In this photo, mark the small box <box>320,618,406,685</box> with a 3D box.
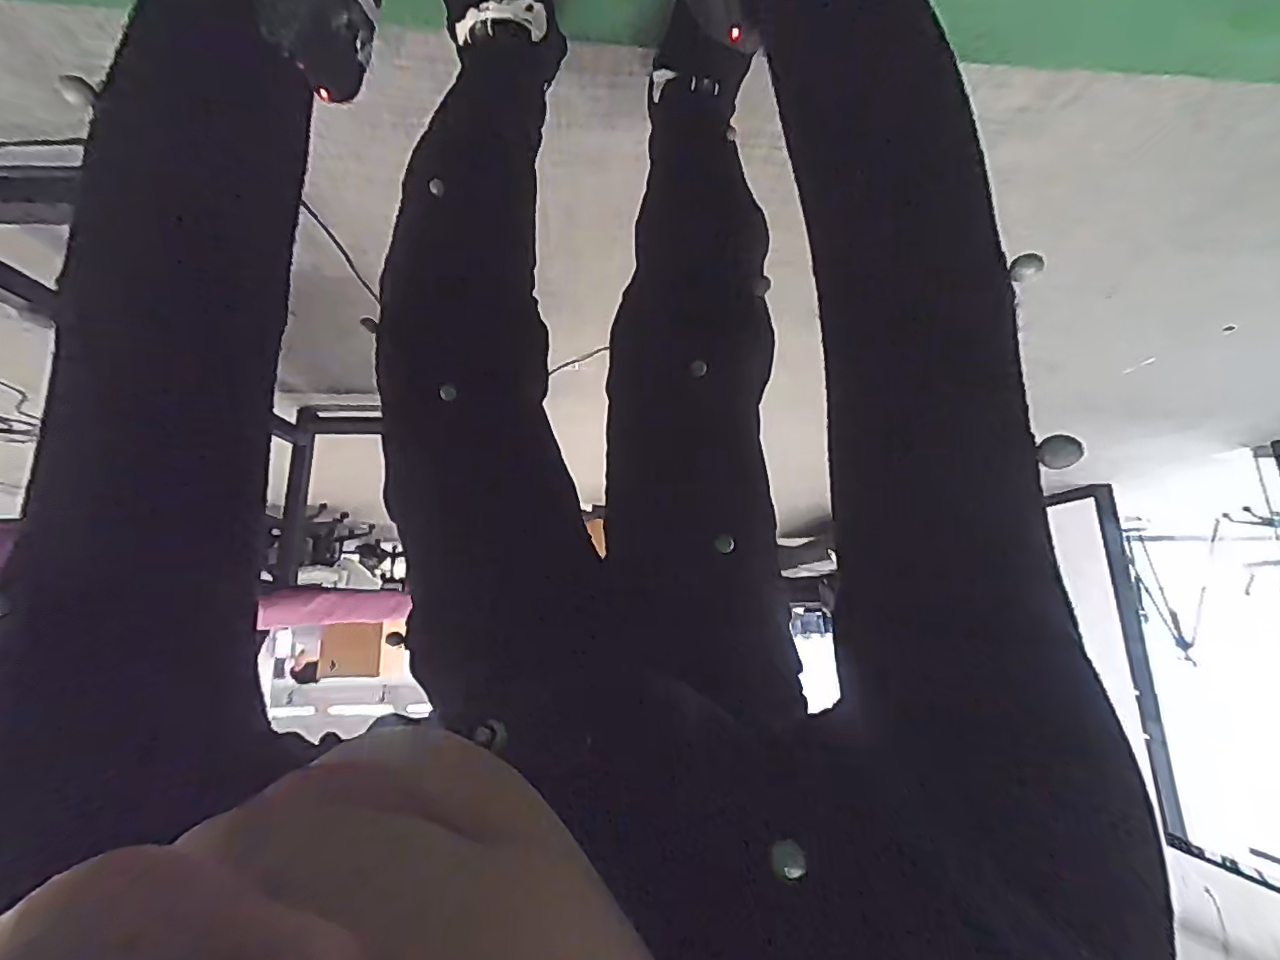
[{"bbox_3d":[-0.798,0.496,1.580,0.179,0.176,0.168,0,167,-1],"label":"small box"}]
